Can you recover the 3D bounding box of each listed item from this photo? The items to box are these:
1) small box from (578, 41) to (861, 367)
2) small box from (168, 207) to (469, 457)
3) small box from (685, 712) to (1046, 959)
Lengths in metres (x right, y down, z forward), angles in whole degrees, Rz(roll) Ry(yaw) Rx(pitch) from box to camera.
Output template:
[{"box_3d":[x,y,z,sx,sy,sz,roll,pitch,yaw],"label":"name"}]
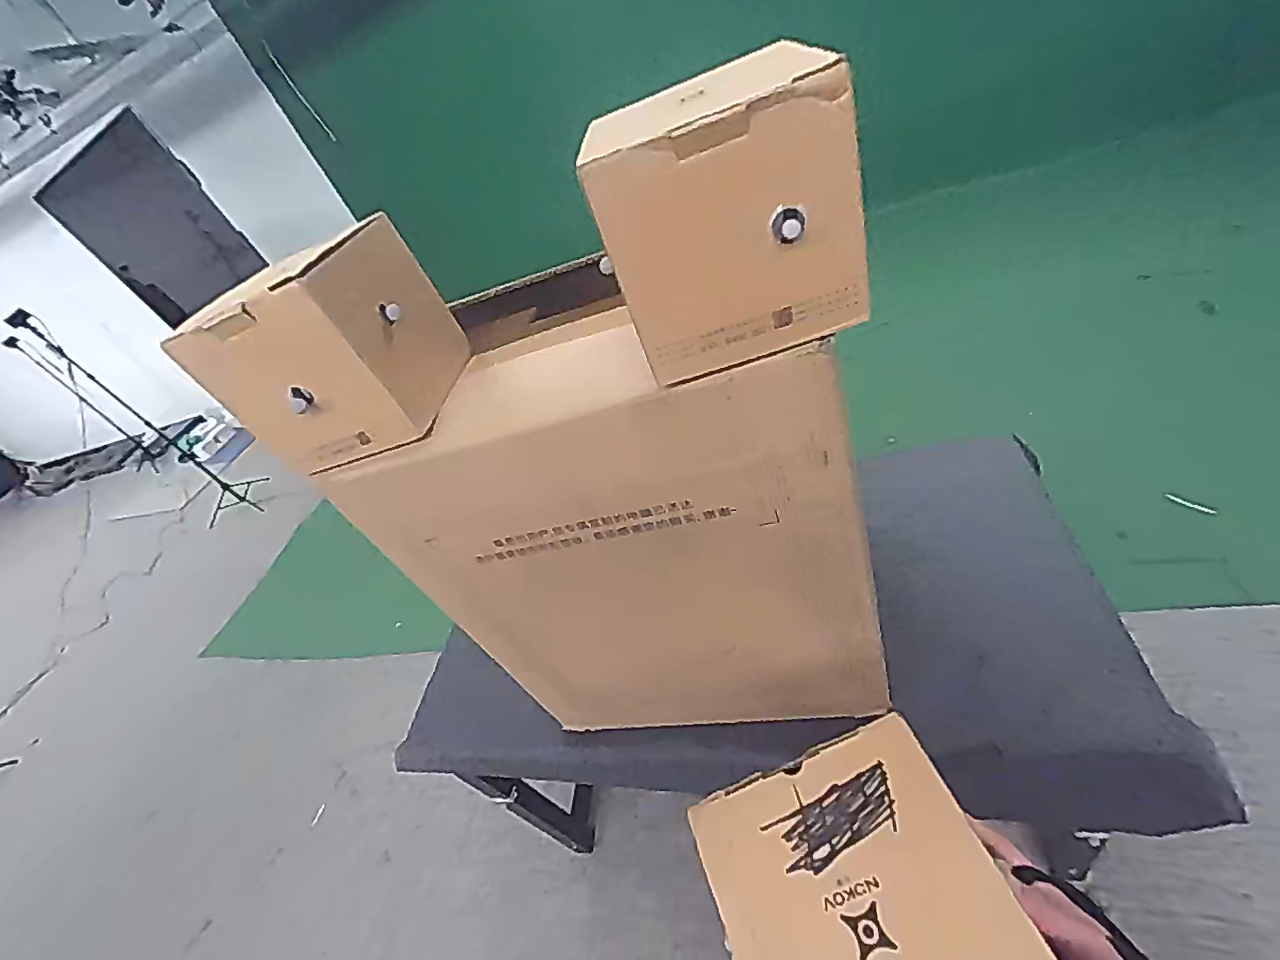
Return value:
[{"box_3d":[0.064,-0.206,0.425,0.168,0.176,0.179,-14,39,12],"label":"small box"},{"box_3d":[-0.304,-0.142,0.559,0.168,0.176,0.179,-14,41,17],"label":"small box"},{"box_3d":[0.154,0.298,0.382,0.168,0.176,0.179,-28,50,5],"label":"small box"}]
